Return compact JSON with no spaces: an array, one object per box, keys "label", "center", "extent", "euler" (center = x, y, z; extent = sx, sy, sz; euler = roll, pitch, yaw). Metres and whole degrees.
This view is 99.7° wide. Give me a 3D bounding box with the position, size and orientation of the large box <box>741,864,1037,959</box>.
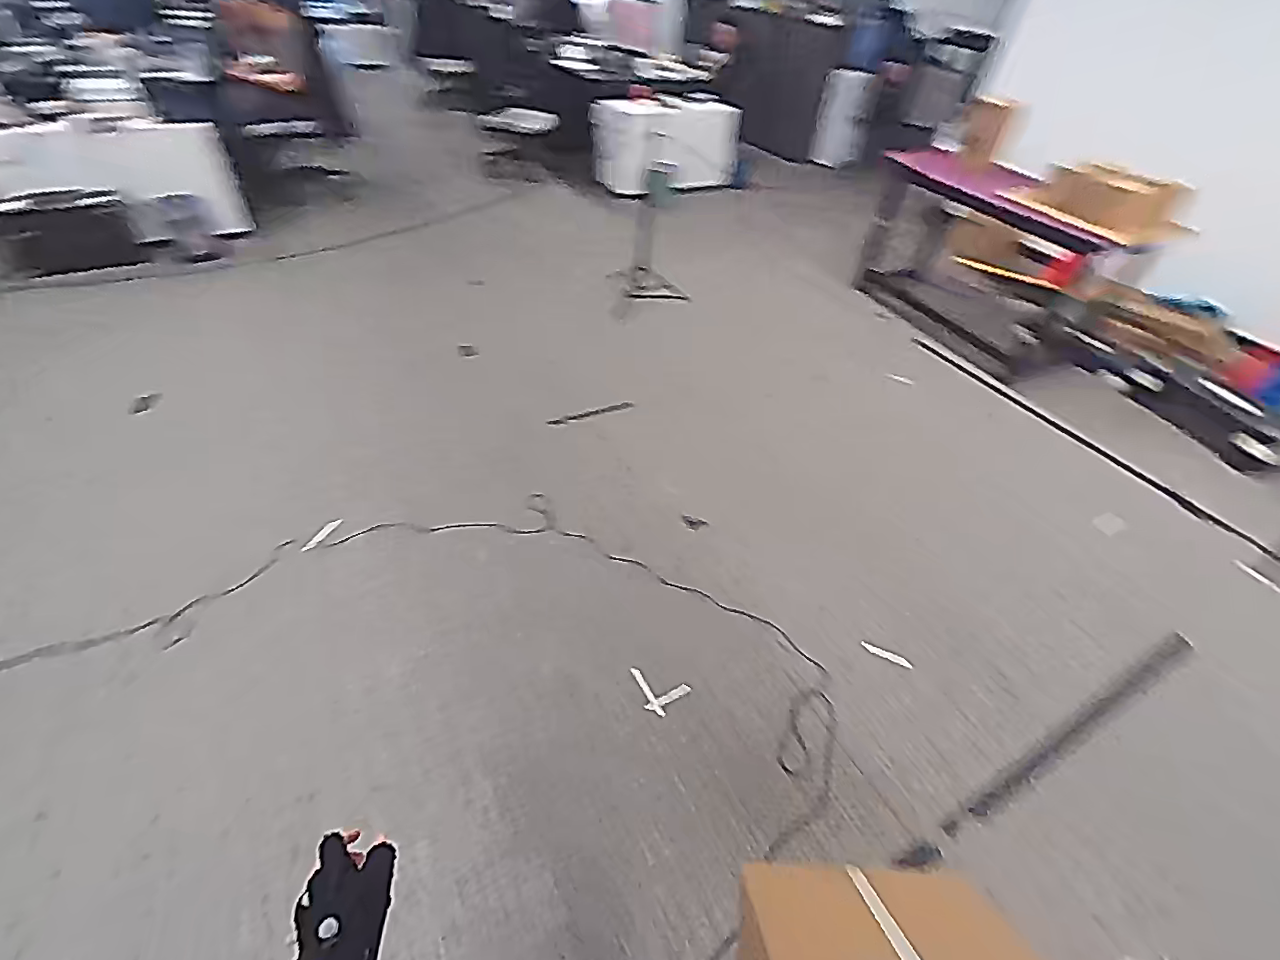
[{"label":"large box","center":[0.288,0.676,0.540],"extent":[0.320,0.408,0.320],"euler":[3,85,0]}]
